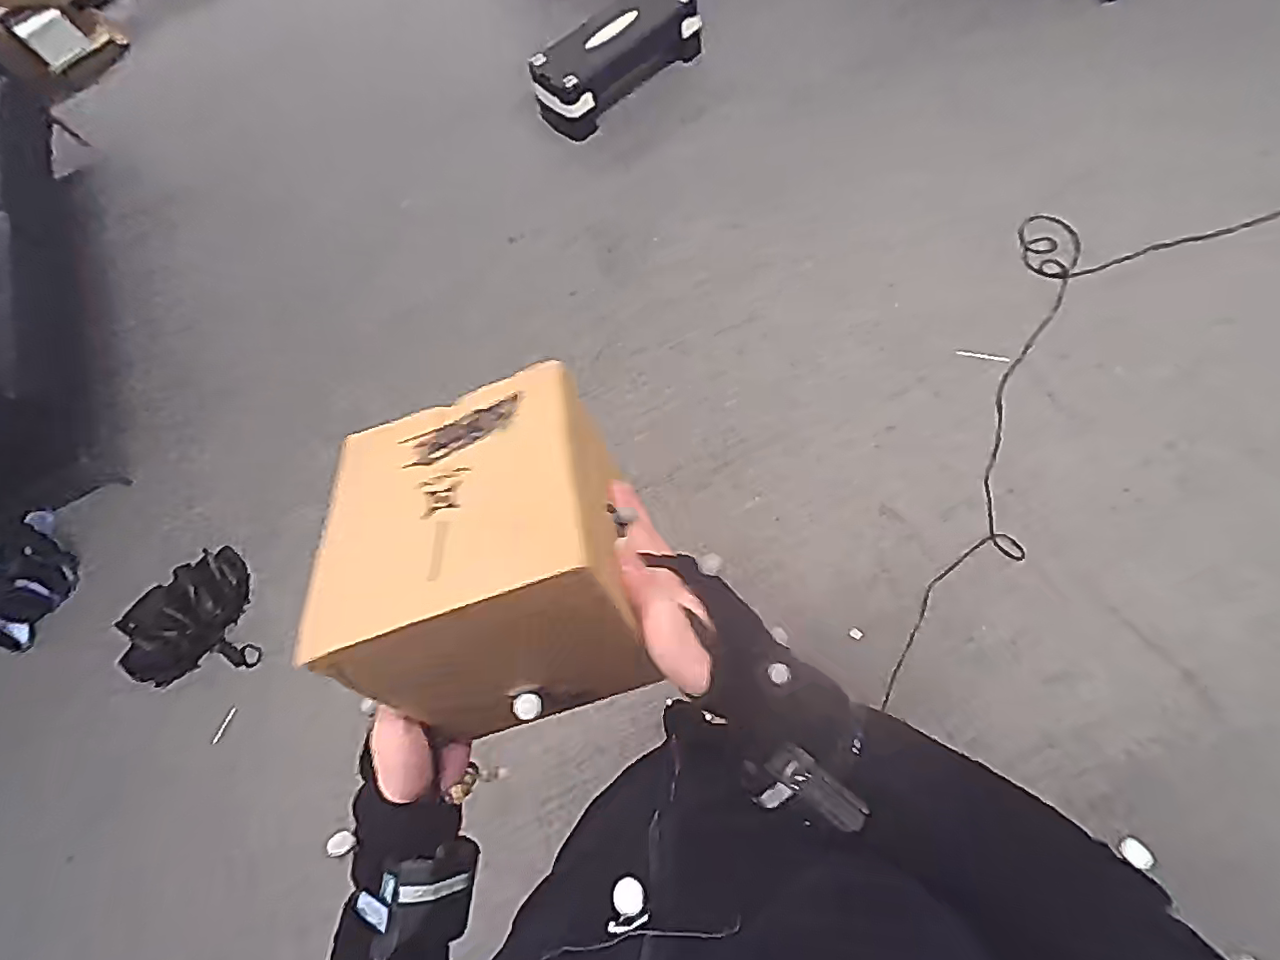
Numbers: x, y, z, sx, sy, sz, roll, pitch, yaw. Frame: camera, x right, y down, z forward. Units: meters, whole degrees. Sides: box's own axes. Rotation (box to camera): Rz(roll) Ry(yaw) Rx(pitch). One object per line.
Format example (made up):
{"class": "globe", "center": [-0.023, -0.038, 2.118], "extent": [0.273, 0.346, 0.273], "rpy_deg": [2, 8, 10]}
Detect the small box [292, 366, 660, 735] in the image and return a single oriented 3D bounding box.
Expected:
{"class": "small box", "center": [-0.097, 0.056, 0.389], "extent": [0.168, 0.176, 0.179], "rpy_deg": [-20, 49, 7]}
